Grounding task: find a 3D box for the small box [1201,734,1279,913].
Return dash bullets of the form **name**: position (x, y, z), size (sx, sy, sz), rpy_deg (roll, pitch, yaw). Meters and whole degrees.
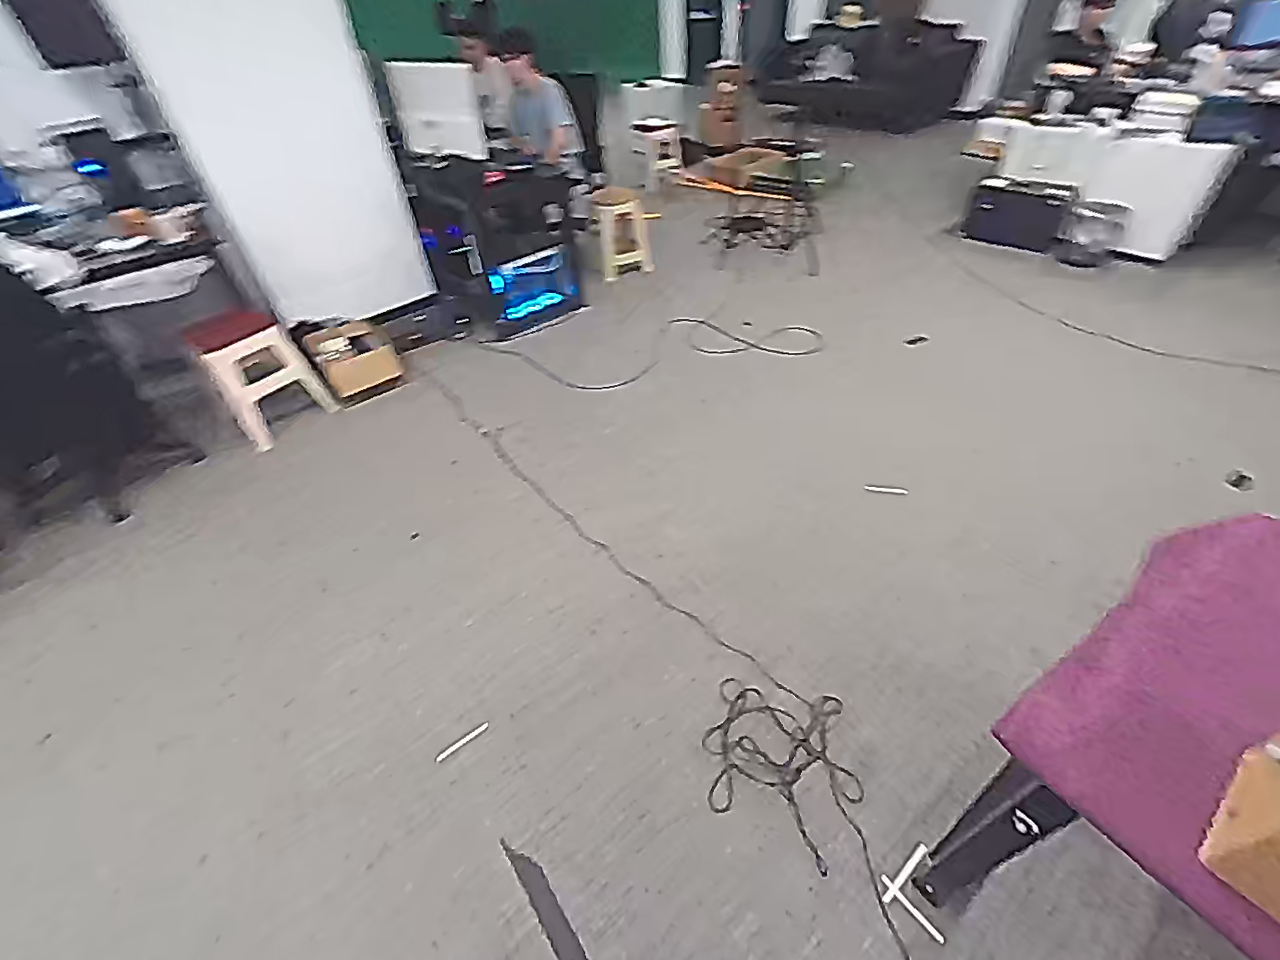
- **small box**: position (0.686, 0.337, 0.491), size (0.168, 0.176, 0.179), rpy_deg (-31, 50, -25)
